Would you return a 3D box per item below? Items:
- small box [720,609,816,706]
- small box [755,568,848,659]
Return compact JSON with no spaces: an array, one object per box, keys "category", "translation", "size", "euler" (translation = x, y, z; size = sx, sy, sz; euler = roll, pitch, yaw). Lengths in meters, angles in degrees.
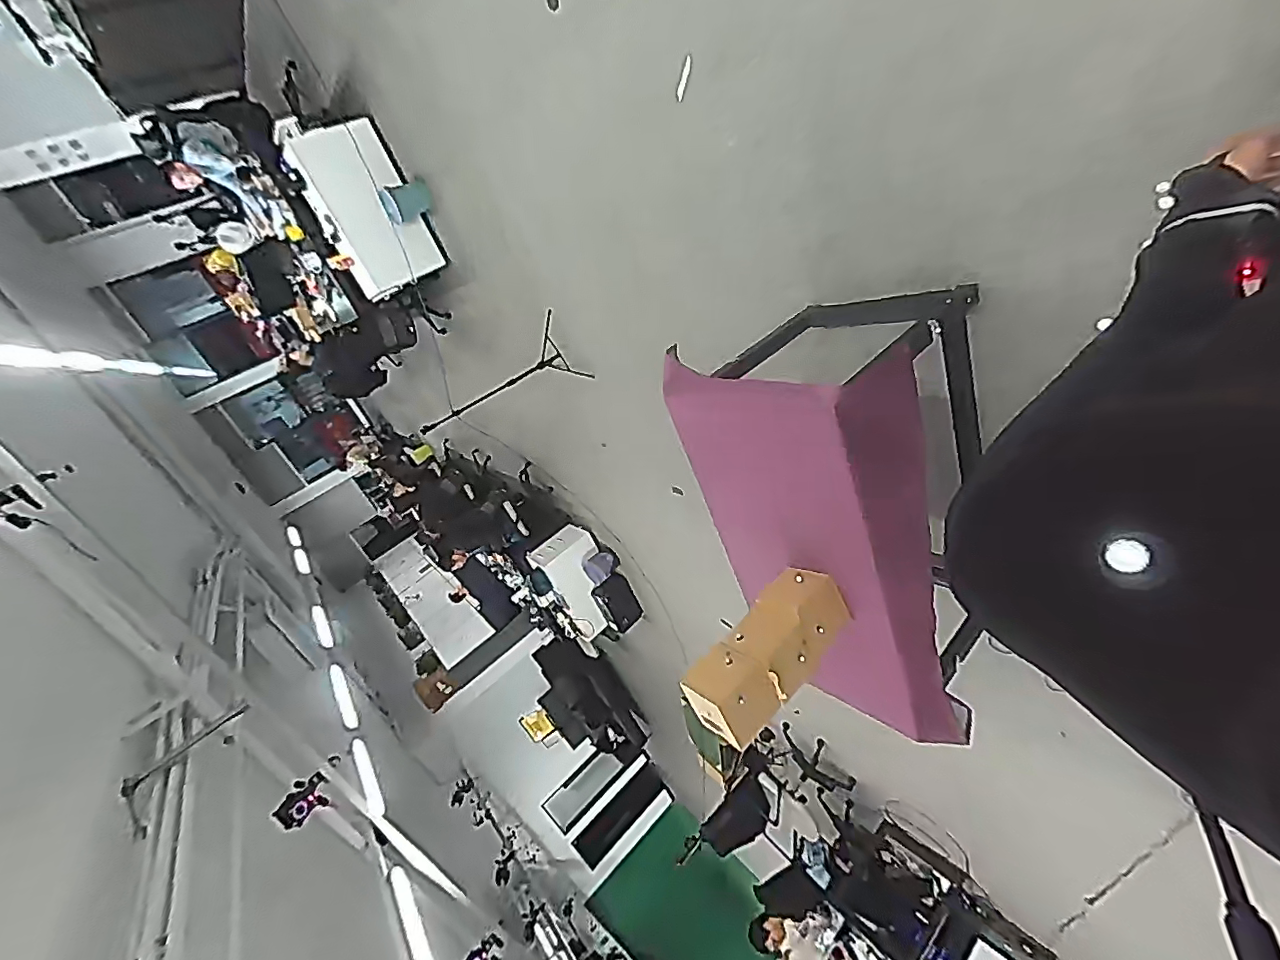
[{"category":"small box","translation":[0.365,0.494,1.537],"size":[0.179,0.176,0.168],"euler":[8,131,56]},{"category":"small box","translation":[0.479,0.386,1.591],"size":[0.168,0.176,0.179],"euler":[0,123,59]}]
